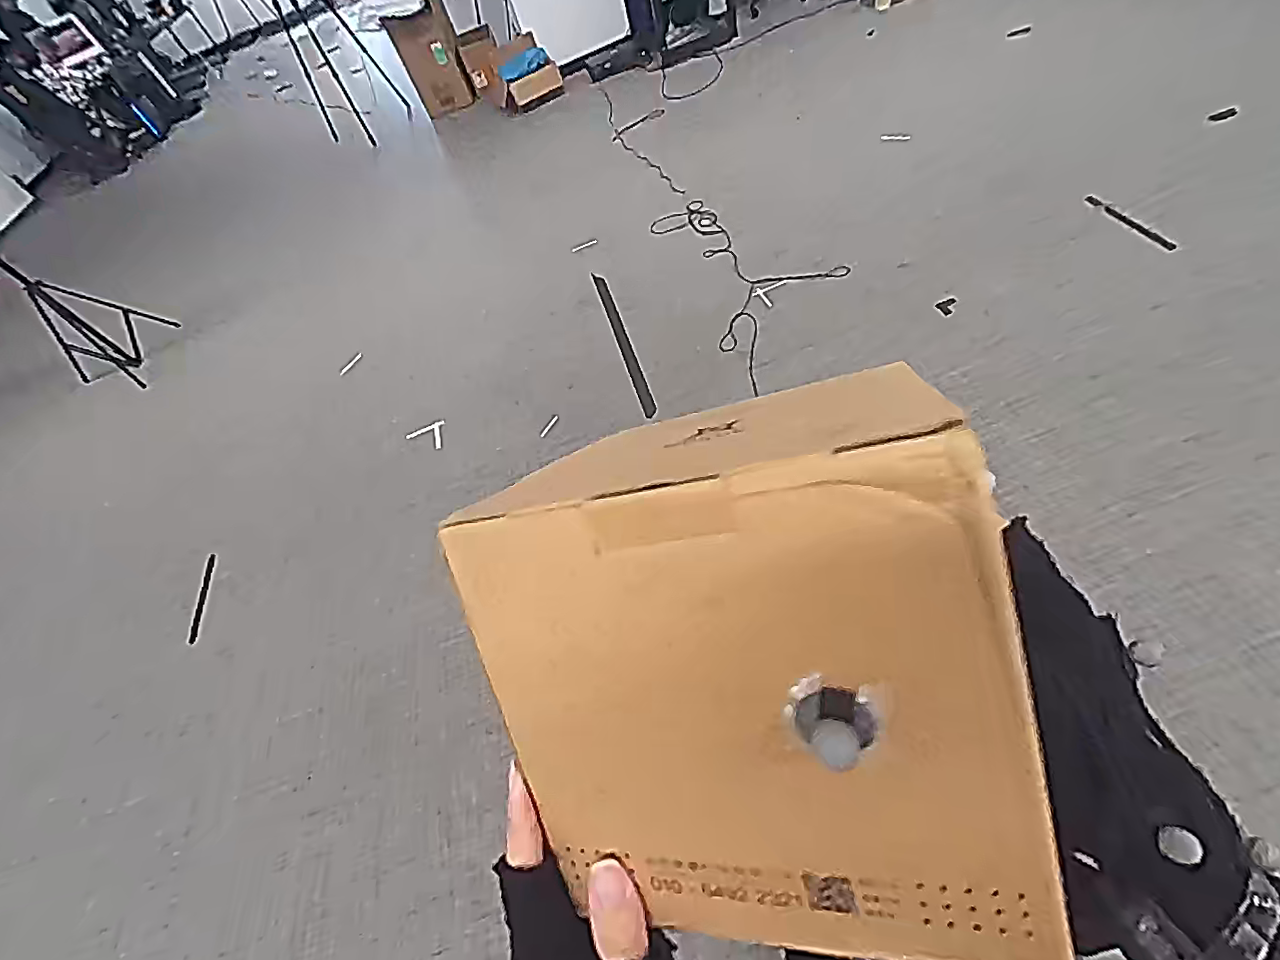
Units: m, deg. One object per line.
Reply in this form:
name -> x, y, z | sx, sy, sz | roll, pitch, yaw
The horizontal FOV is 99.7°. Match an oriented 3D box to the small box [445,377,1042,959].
small box -> 0.055, 0.066, 0.246 | 0.168, 0.176, 0.179 | -12, 11, 25
